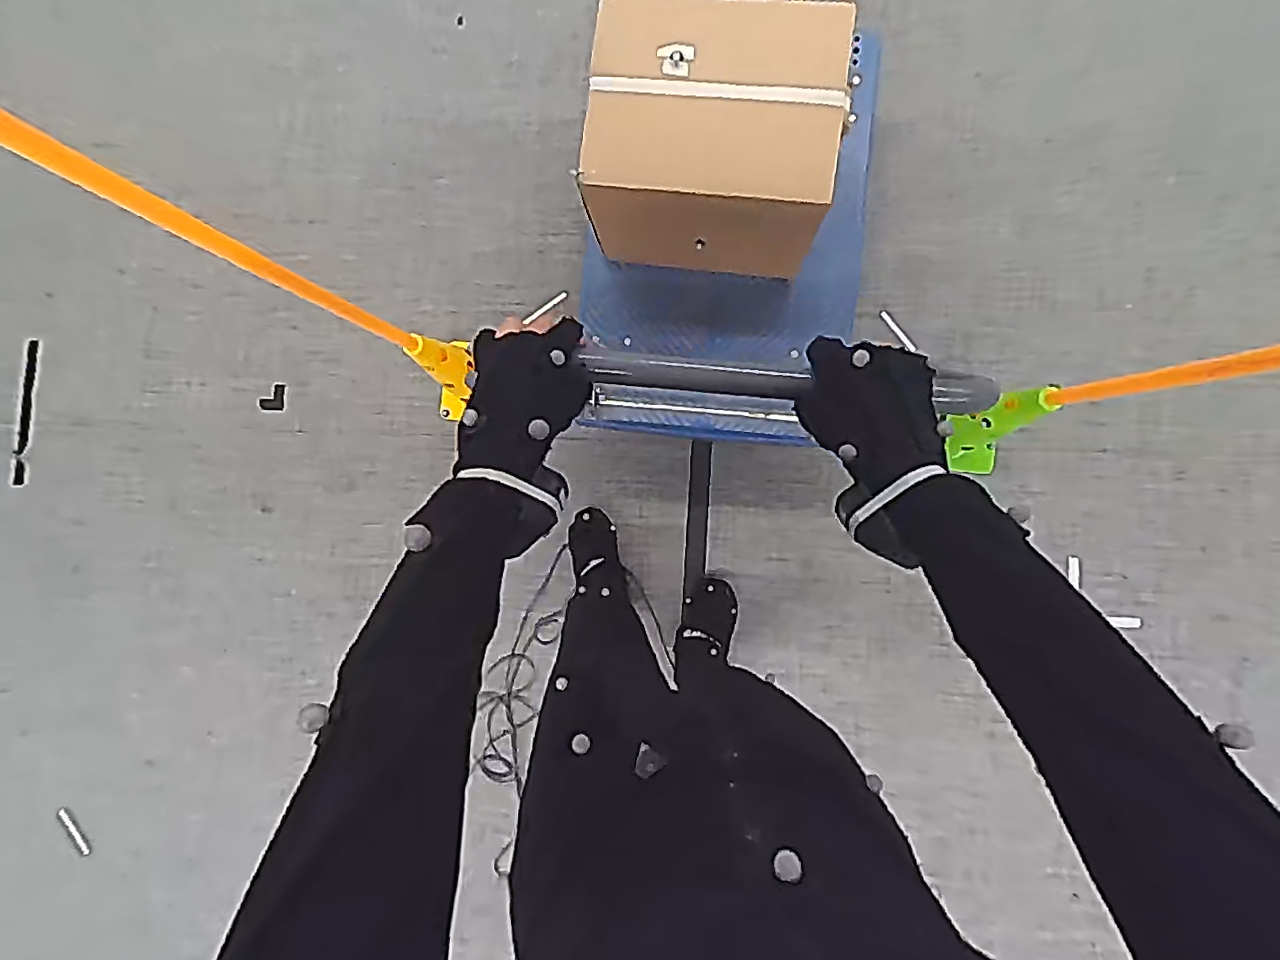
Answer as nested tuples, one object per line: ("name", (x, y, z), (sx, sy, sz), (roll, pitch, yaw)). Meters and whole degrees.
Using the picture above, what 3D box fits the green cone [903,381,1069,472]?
("green cone", (0.708, -0.129, 1.084), (0.202, 0.368, 0.200), (6, 89, 4))

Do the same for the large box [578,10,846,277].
("large box", (0.127, -0.593, 1.009), (0.408, 0.320, 0.320), (7, 90, 6))
